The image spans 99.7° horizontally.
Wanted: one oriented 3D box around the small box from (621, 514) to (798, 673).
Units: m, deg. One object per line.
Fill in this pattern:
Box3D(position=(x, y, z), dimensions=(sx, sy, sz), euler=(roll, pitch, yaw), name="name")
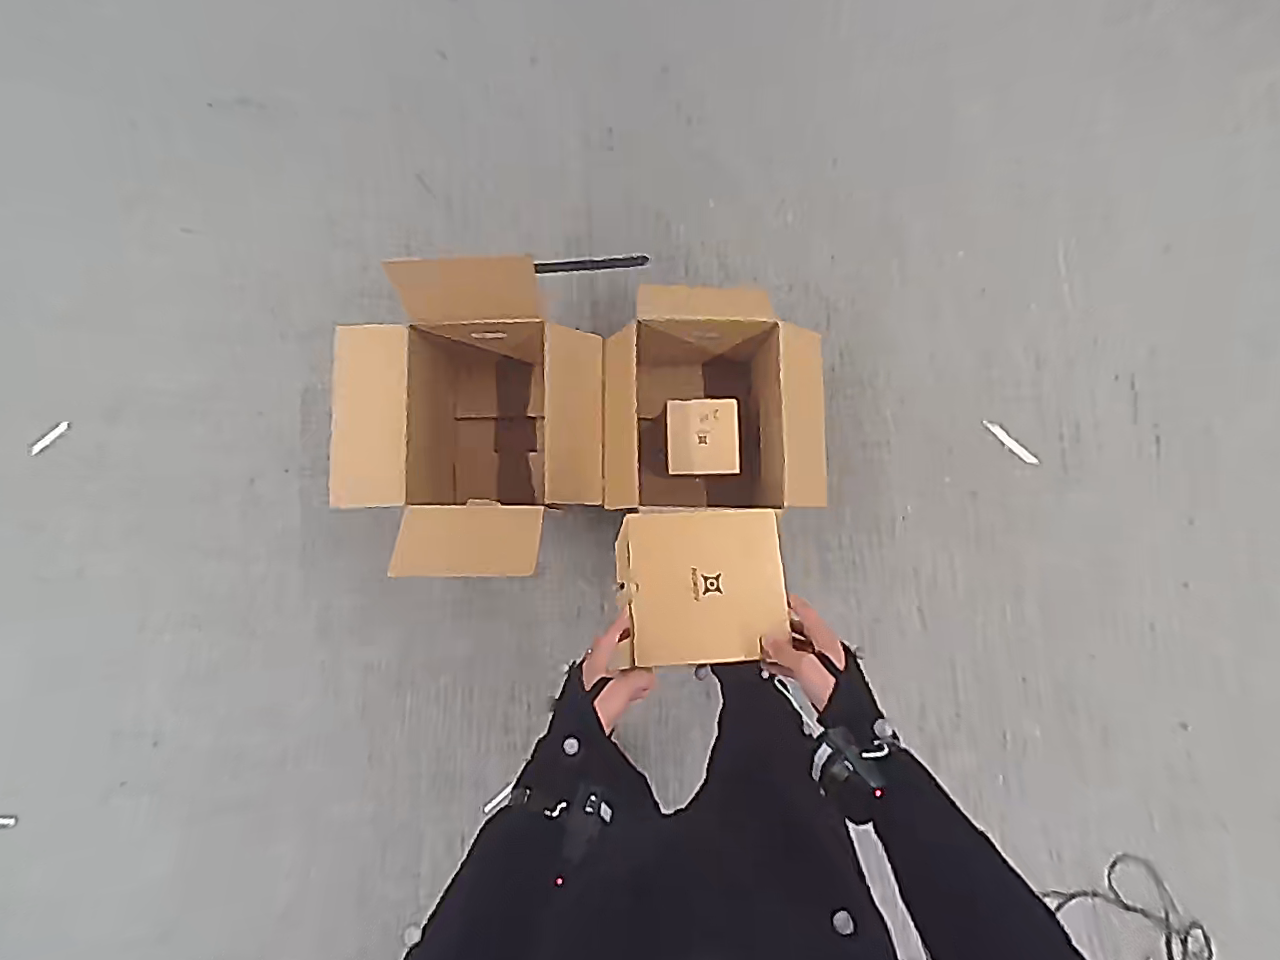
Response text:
Box3D(position=(0.071, 0.141, 0.662), dimensions=(0.179, 0.176, 0.168), euler=(-2, 73, -5), name="small box")
